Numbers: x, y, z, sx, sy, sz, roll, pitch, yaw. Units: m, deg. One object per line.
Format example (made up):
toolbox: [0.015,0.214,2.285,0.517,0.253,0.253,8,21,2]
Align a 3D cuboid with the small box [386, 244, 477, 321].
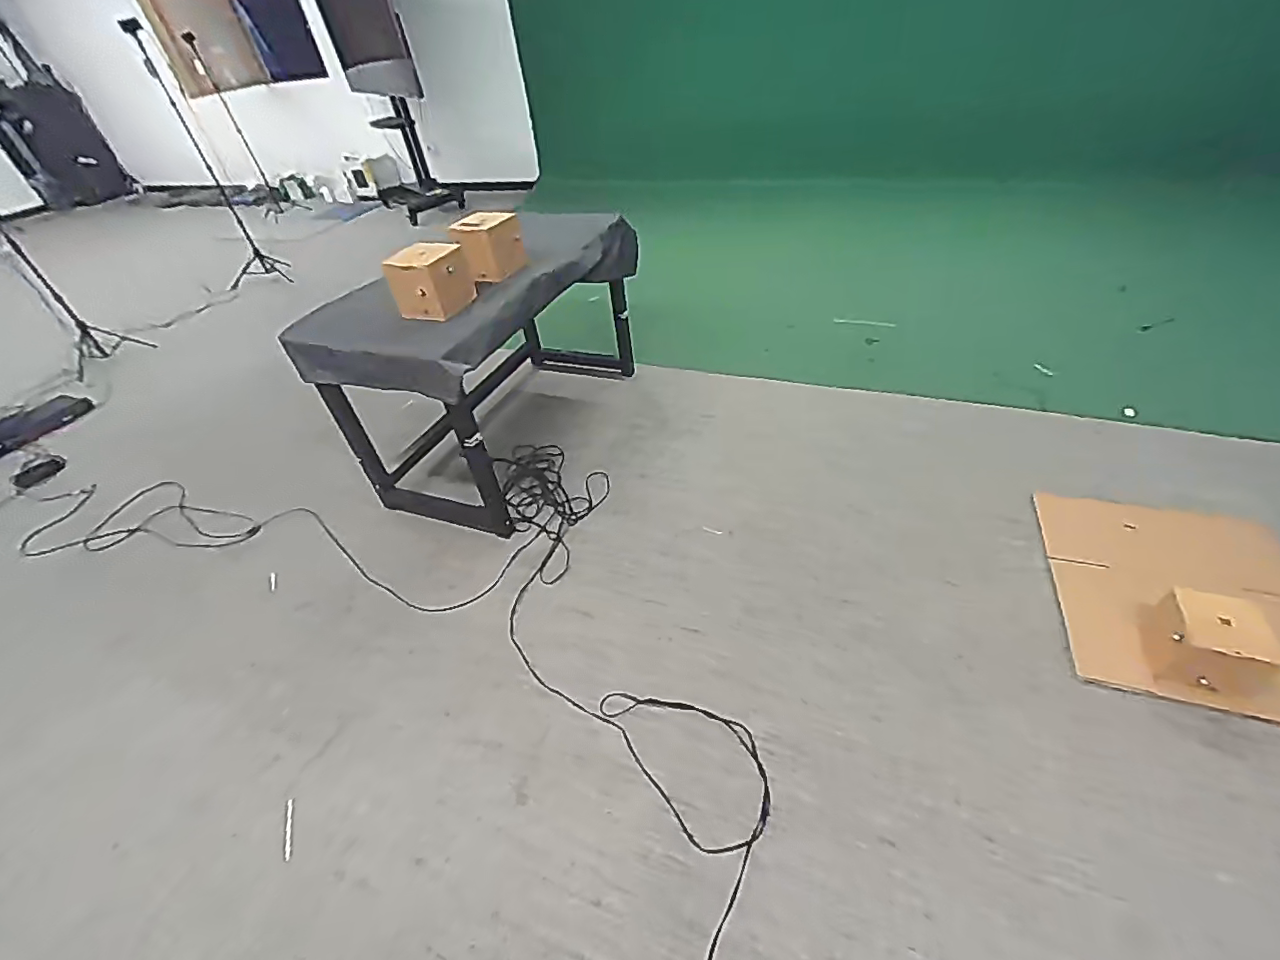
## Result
small box: [-0.618,-0.595,1.630,0.168,0.176,0.179,11,44,19]

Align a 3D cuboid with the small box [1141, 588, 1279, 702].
small box: [1.357,0.394,1.296,0.168,0.176,0.179,11,45,19]
